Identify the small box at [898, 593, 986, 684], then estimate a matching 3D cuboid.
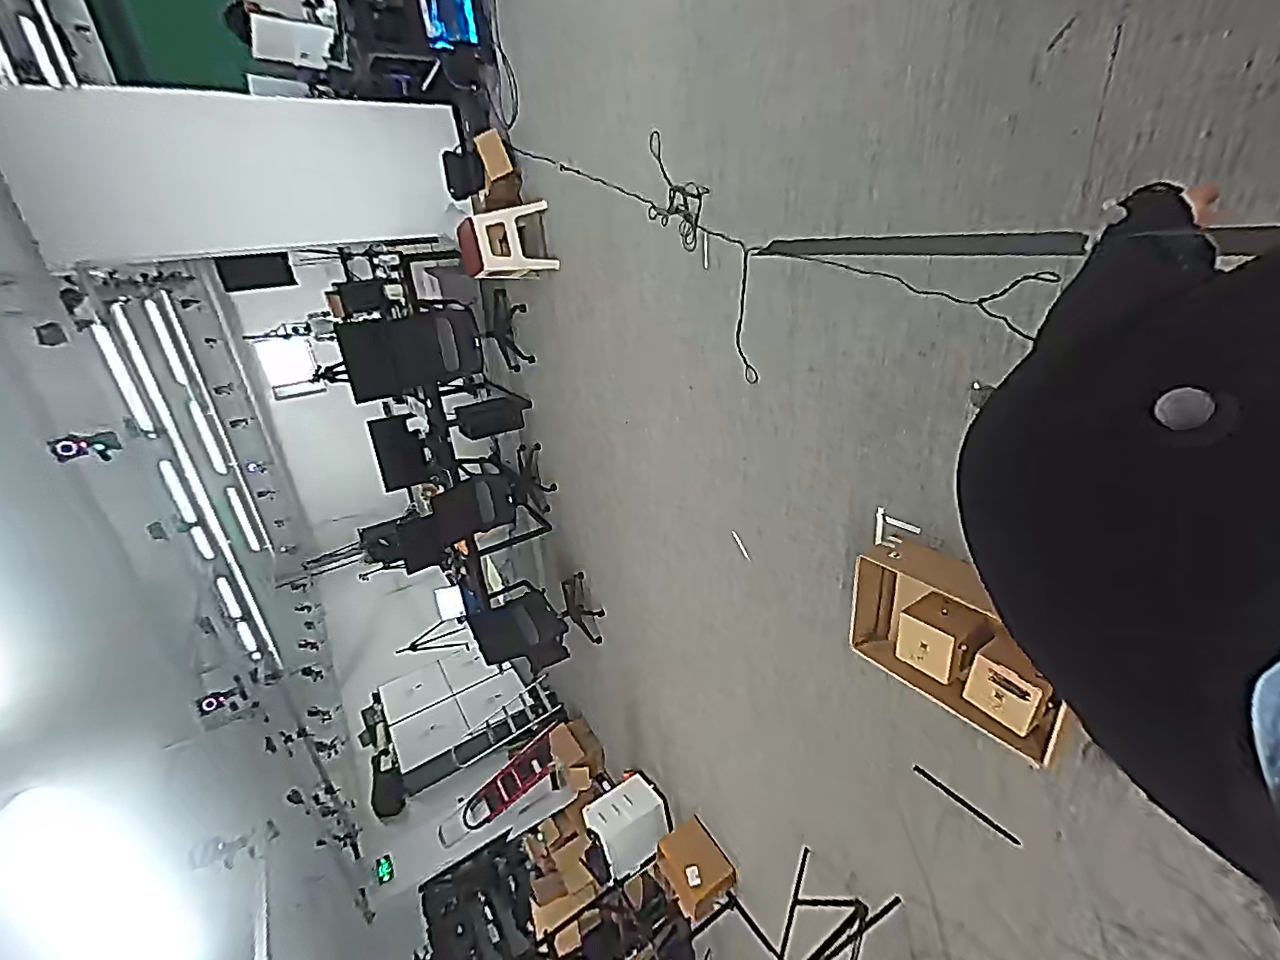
[{"bbox_3d":[0.920,0.473,1.646,0.168,0.176,0.179,27,129,52],"label":"small box"}]
